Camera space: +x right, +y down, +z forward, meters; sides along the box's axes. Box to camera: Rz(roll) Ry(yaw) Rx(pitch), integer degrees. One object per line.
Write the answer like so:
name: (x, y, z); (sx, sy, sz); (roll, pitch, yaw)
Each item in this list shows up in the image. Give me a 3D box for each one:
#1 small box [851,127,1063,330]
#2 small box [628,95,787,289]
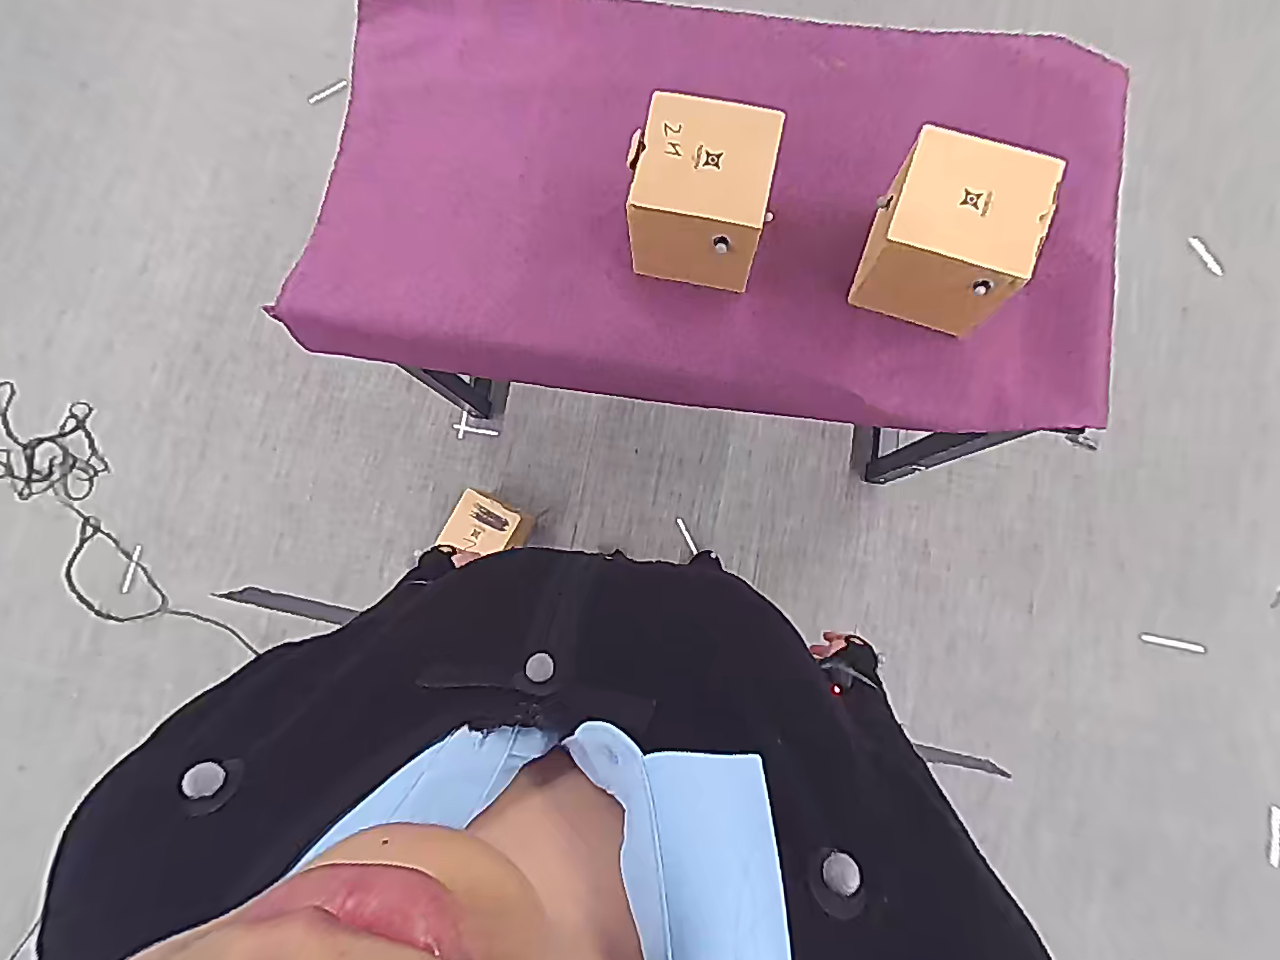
small box: (0.413, -0.328, 0.736); (0.179, 0.176, 0.168); (19, 83, 6)
small box: (0.090, -0.393, 0.765); (0.179, 0.176, 0.168); (12, 82, 5)
